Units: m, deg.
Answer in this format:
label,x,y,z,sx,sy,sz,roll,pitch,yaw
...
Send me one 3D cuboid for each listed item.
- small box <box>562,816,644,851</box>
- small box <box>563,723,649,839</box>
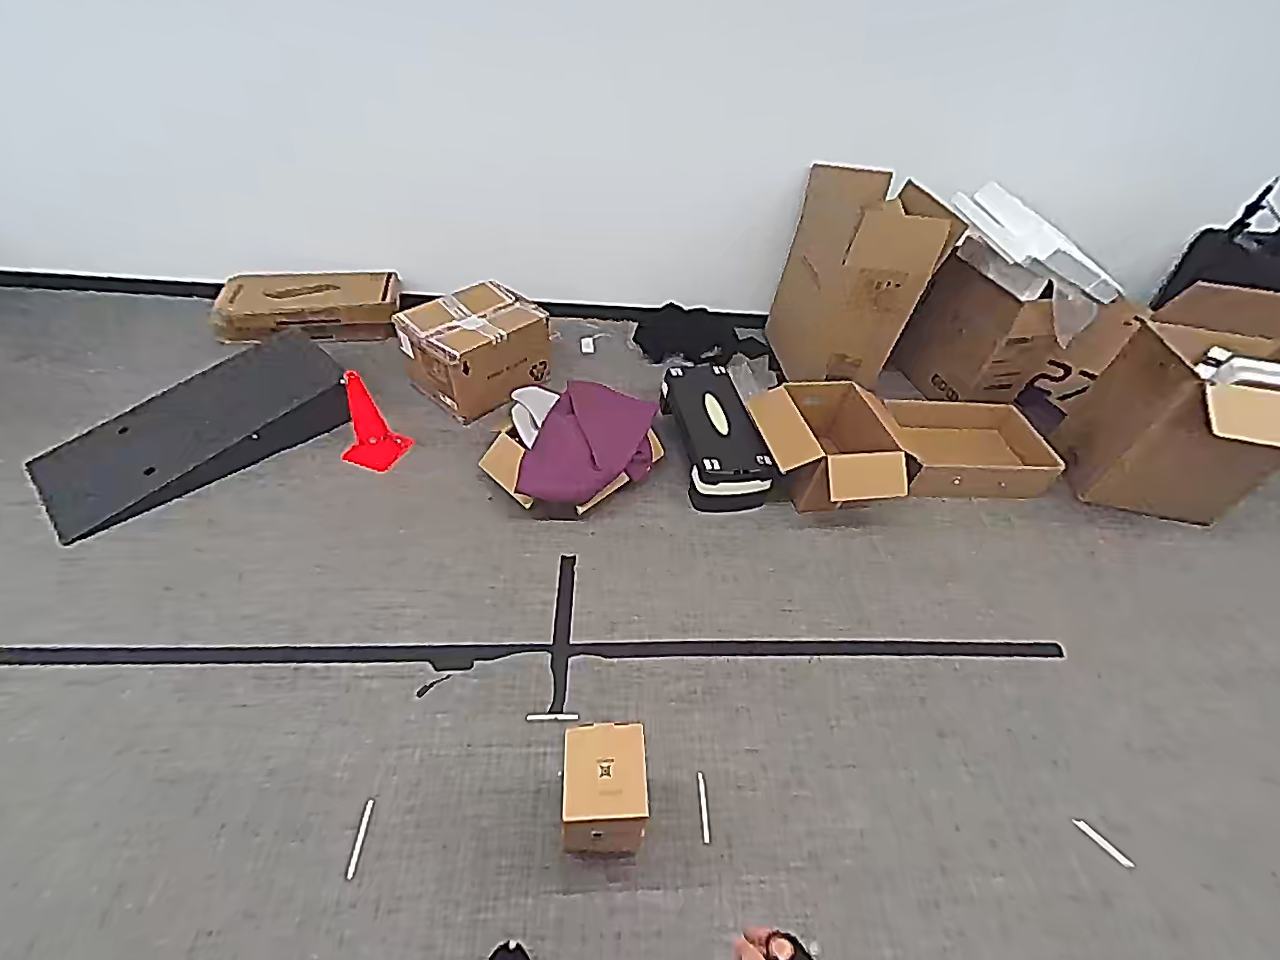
label,x,y,z,sx,sy,sz,roll,pitch,yaw
small box,-0.085,0.746,1.253,0.179,0.176,0.168,5,46,-4
small box,-0.076,0.633,1.137,0.168,0.176,0.179,-1,48,-6
